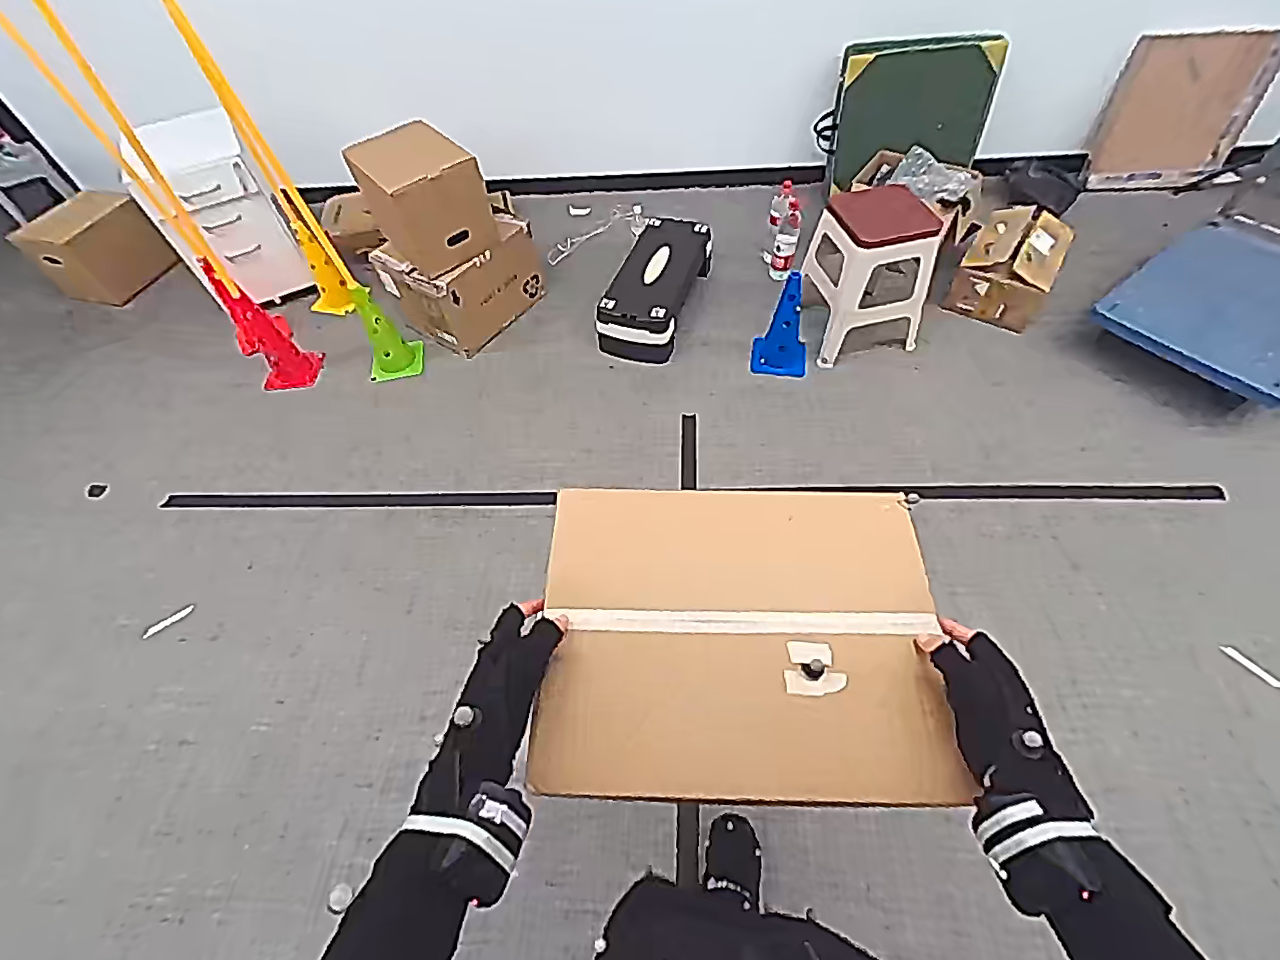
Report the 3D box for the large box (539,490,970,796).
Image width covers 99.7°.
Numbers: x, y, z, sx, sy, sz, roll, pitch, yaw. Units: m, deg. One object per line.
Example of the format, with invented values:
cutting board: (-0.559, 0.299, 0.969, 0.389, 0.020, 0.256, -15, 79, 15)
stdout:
large box: (0.103, 0.222, 0.693, 0.408, 0.320, 0.320, 1, 59, 0)
